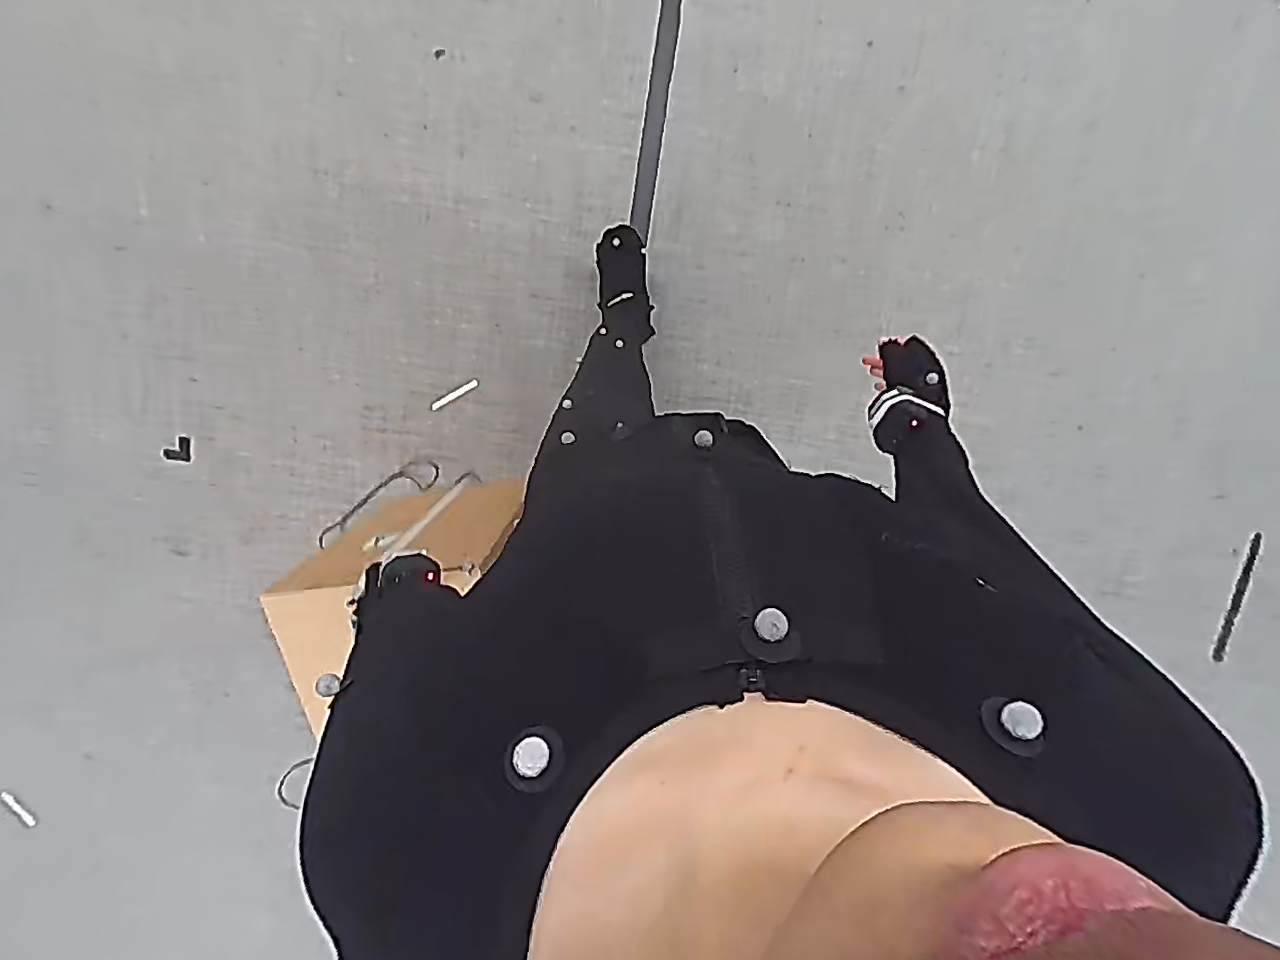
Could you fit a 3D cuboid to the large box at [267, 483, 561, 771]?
[{"bbox_3d":[-0.342,0.227,0.964,0.320,0.408,0.320,-10,107,4],"label":"large box"}]
